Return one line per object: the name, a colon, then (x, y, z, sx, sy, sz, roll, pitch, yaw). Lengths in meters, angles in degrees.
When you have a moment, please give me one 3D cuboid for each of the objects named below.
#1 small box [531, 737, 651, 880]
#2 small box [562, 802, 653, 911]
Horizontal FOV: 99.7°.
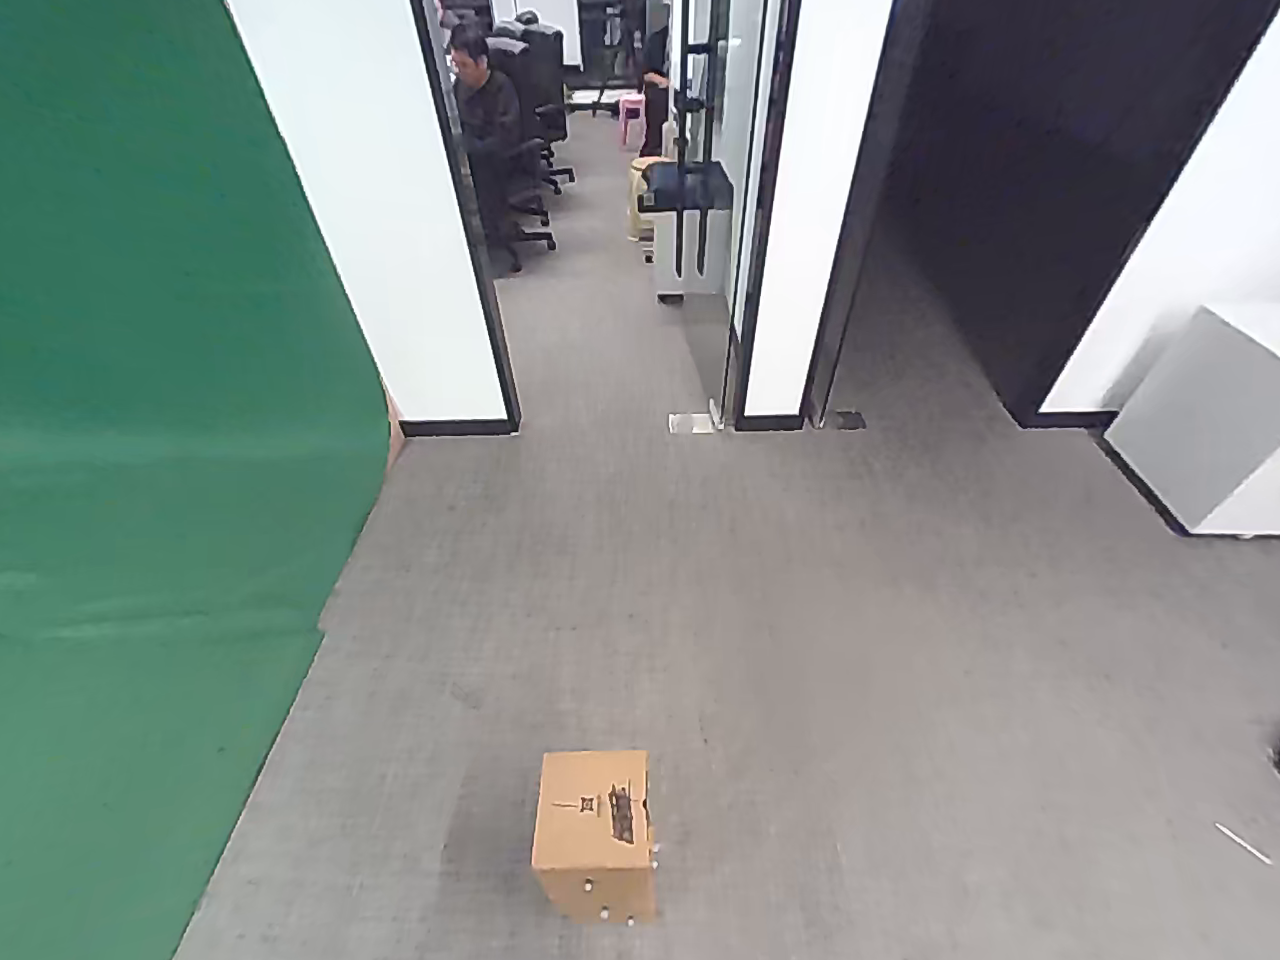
small box: (-0.072, 0.556, 0.915, 0.179, 0.176, 0.168, 1, 42, 3)
small box: (-0.060, 0.794, 1.144, 0.179, 0.176, 0.168, -2, 43, 2)
